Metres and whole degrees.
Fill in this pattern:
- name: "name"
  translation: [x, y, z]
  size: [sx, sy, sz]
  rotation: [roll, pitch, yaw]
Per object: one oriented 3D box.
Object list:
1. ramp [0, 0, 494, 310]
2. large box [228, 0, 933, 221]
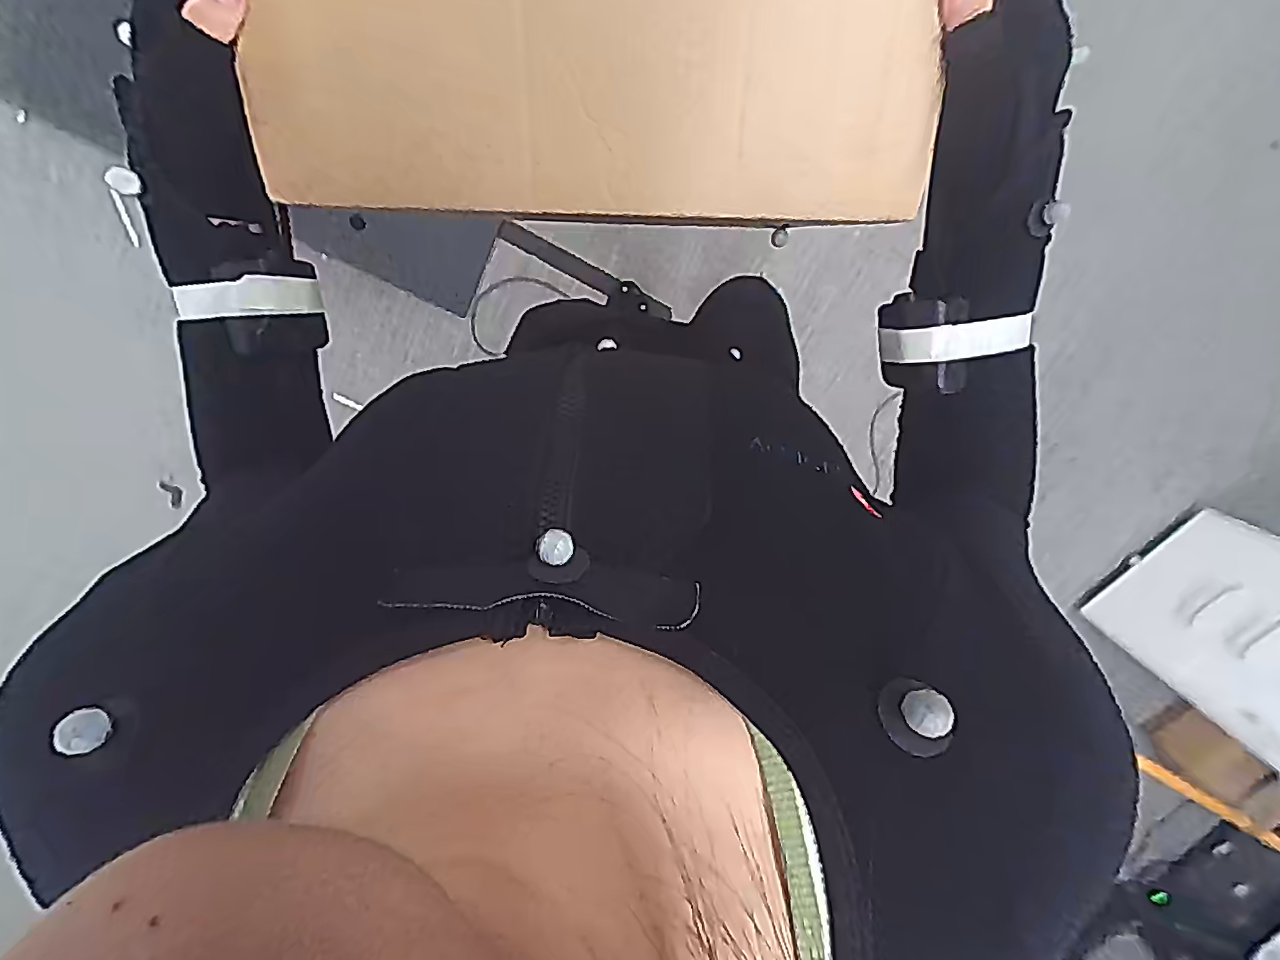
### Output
- name: "ramp"
  translation: [-0.796, -0.819, 1.169]
  size: [0.991, 0.206, 0.509]
  rotation: [25, 108, -7]
- name: "large box"
  translation: [-0.030, -0.376, 0.419]
  size: [0.408, 0.320, 0.320]
  rotation: [1, 114, 0]
